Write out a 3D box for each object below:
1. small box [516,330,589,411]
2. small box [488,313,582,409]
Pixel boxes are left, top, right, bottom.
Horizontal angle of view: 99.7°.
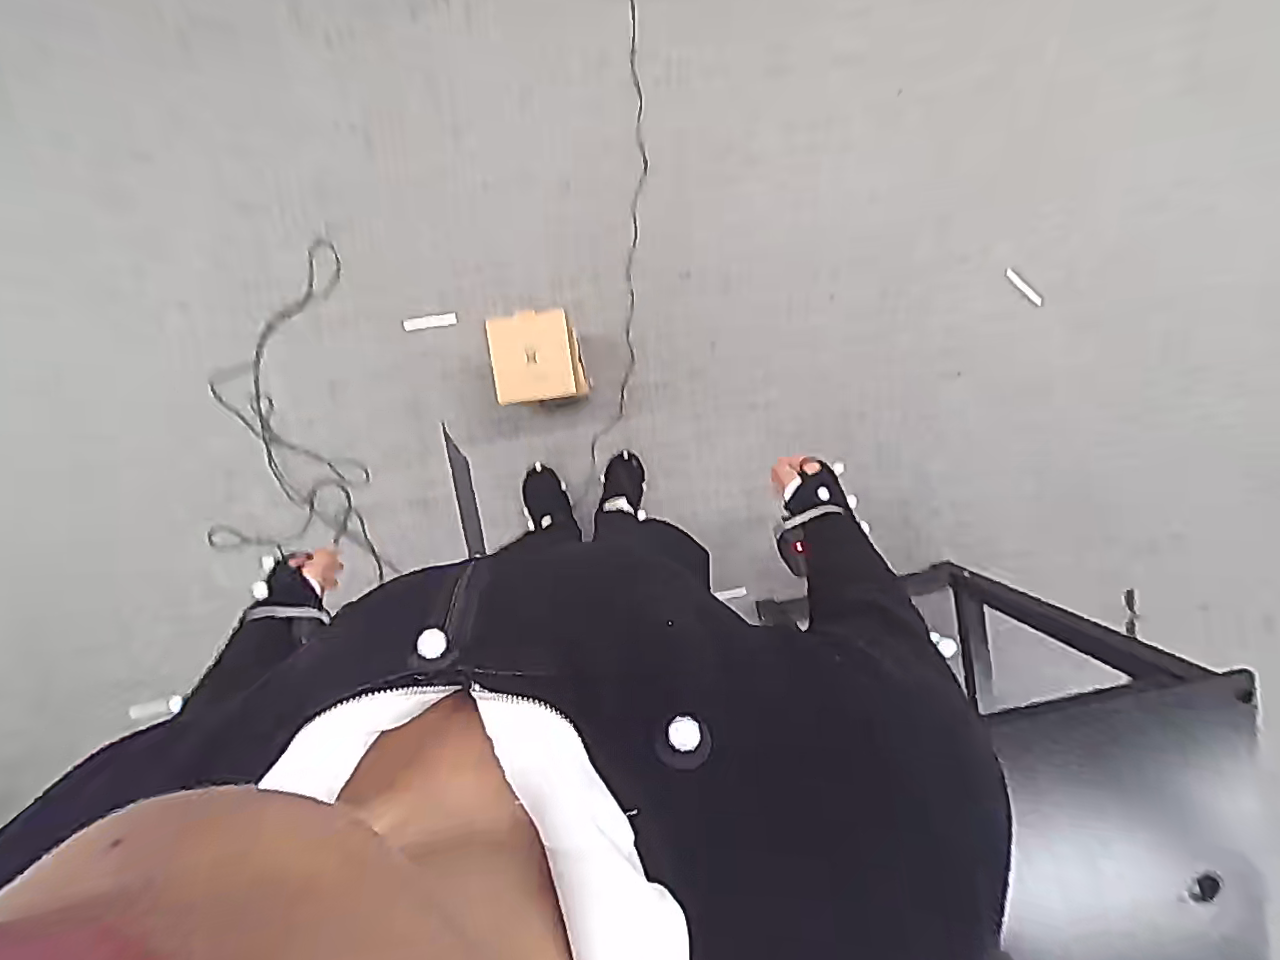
[{"bbox_3d":[-0.227,-0.270,1.360,0.179,0.176,0.168,-11,96,-1],"label":"small box"},{"bbox_3d":[-0.225,-0.257,1.198,0.168,0.176,0.179,-9,97,-1],"label":"small box"}]
